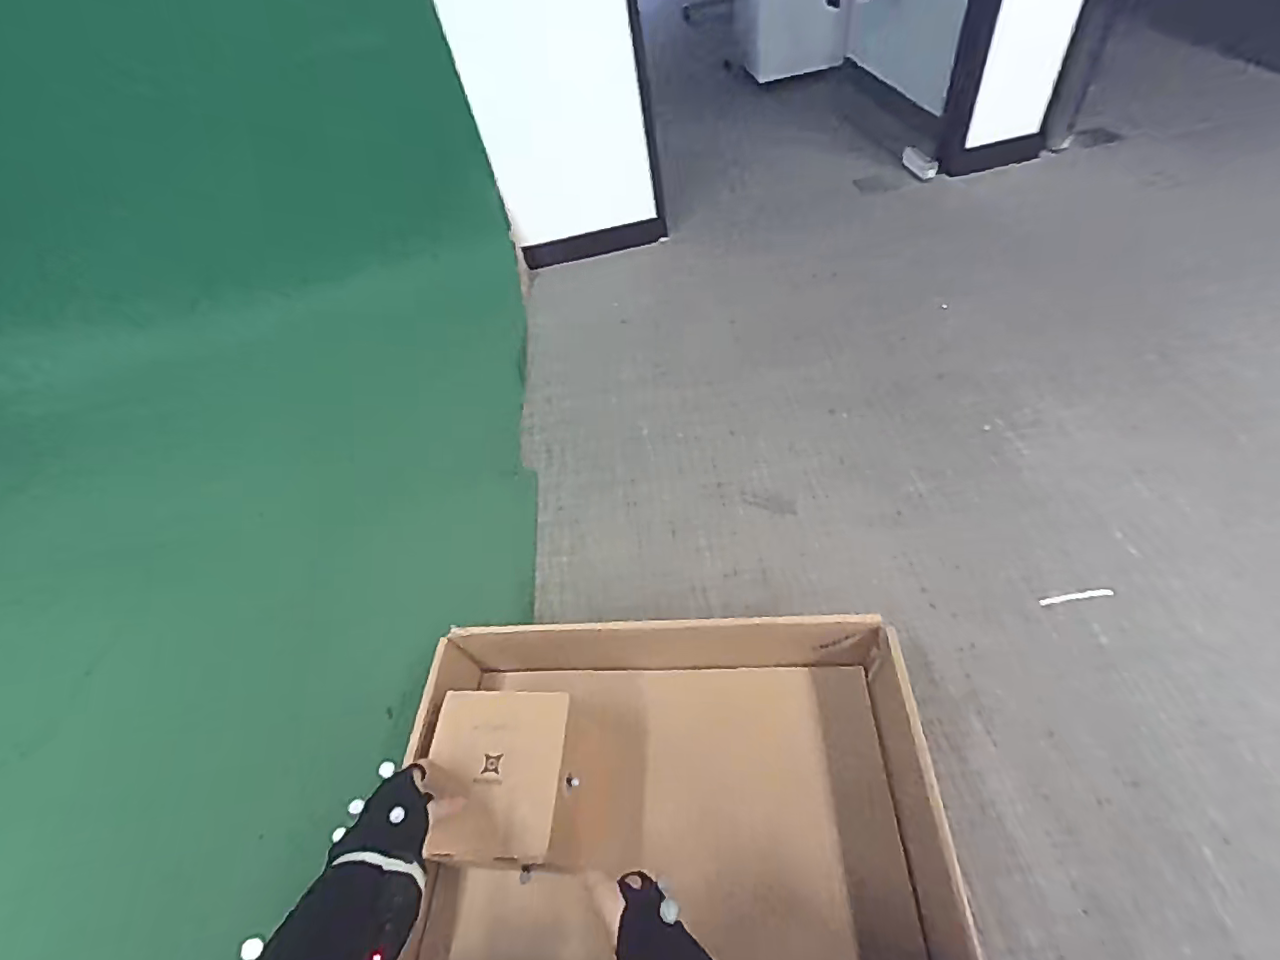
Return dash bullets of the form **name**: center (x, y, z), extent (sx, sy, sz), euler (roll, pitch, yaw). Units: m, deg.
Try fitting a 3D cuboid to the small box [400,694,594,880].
- **small box**: center (-0.160, 0.387, 0.679), extent (0.168, 0.176, 0.179), euler (-2, 50, 9)
